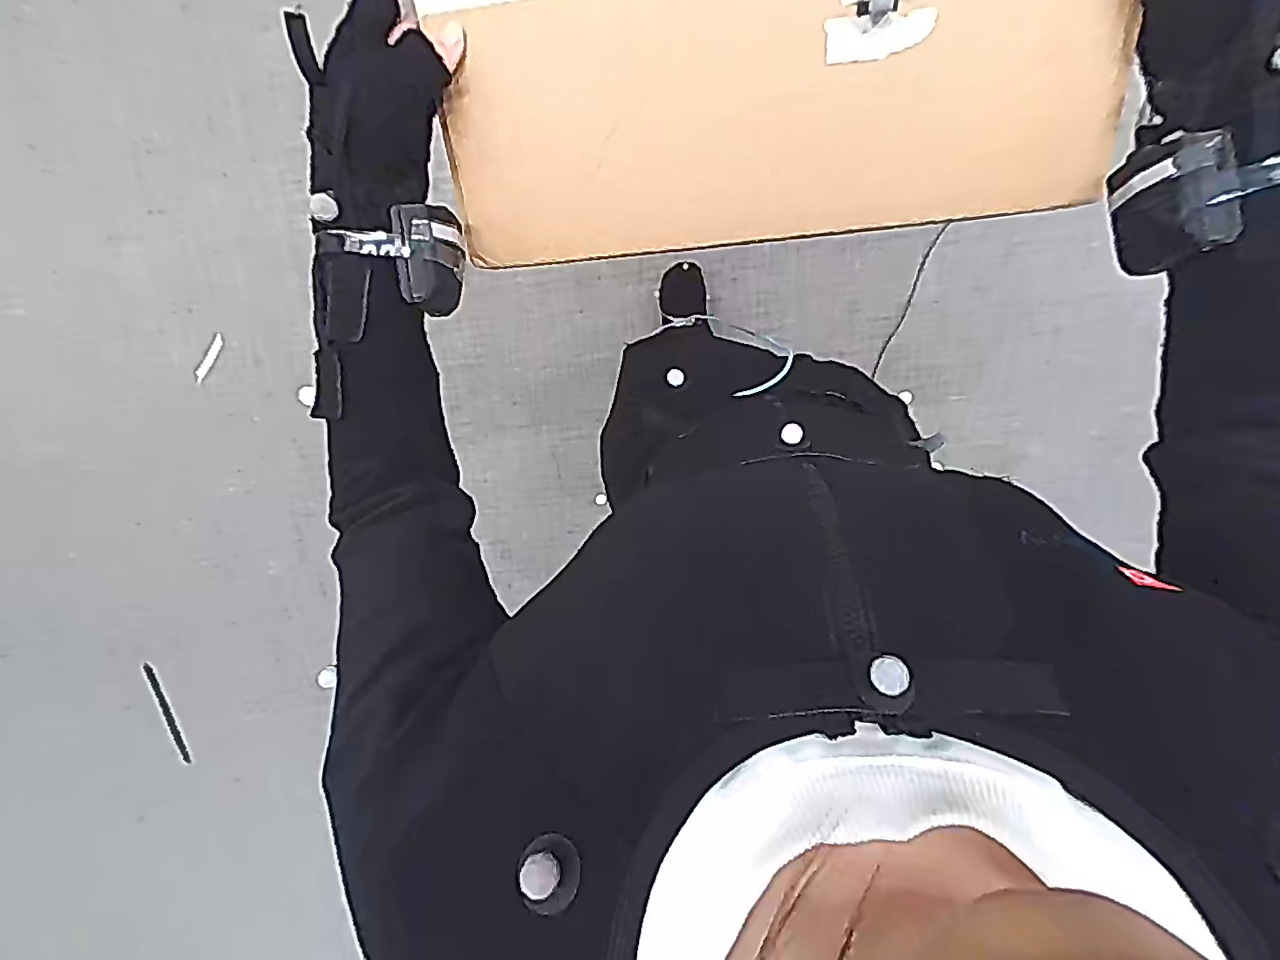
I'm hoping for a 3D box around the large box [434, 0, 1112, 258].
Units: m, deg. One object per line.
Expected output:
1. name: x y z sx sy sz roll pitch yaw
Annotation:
1. large box: 0.080 -0.376 0.445 0.408 0.320 0.320 -3 115 9
